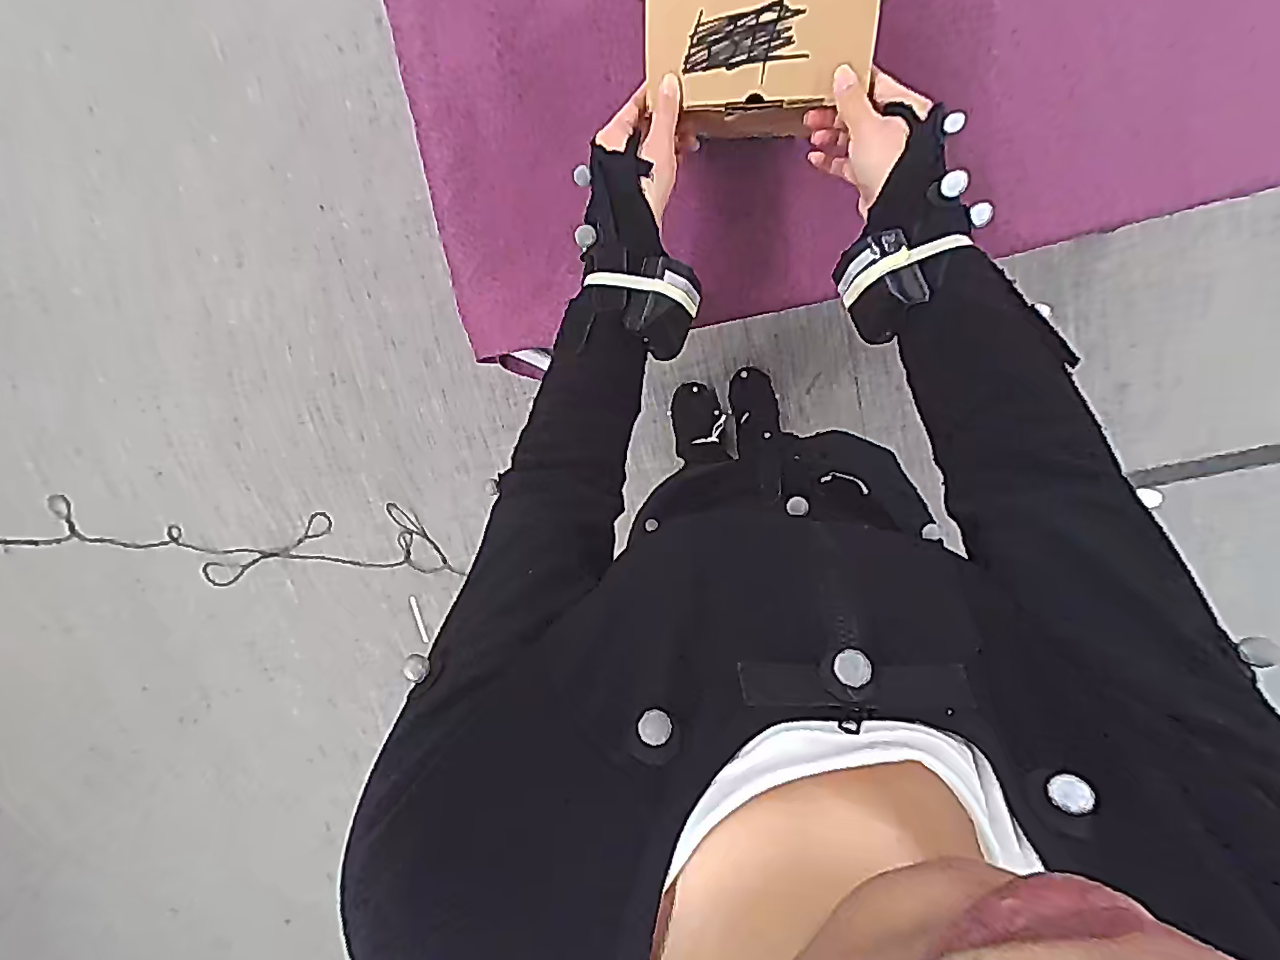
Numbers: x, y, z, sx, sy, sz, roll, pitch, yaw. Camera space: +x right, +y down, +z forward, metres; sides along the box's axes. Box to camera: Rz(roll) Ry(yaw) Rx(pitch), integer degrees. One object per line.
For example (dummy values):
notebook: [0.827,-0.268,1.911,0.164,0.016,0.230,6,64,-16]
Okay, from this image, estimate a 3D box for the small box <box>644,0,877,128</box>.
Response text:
small box: [0.095,-0.399,0.440,0.168,0.176,0.179,2,115,7]
